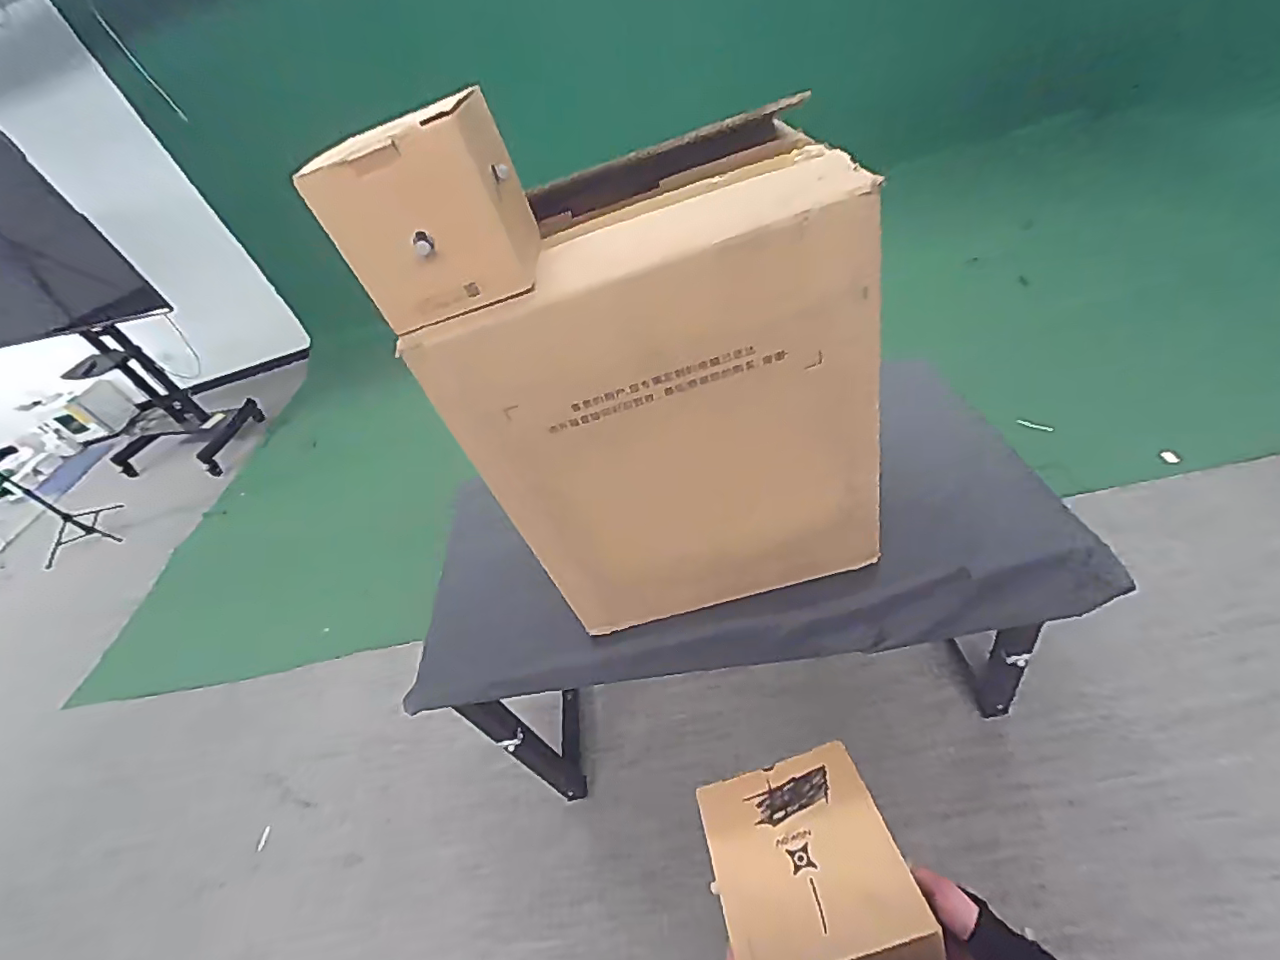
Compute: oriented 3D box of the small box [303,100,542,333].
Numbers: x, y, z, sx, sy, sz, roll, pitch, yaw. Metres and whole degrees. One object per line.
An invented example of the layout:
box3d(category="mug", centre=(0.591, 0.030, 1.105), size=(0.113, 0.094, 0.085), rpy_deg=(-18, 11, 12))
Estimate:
box3d(category="small box", centre=(-0.219, -0.285, 0.602), size=(0.168, 0.176, 0.179), rpy_deg=(-16, 42, 8))
